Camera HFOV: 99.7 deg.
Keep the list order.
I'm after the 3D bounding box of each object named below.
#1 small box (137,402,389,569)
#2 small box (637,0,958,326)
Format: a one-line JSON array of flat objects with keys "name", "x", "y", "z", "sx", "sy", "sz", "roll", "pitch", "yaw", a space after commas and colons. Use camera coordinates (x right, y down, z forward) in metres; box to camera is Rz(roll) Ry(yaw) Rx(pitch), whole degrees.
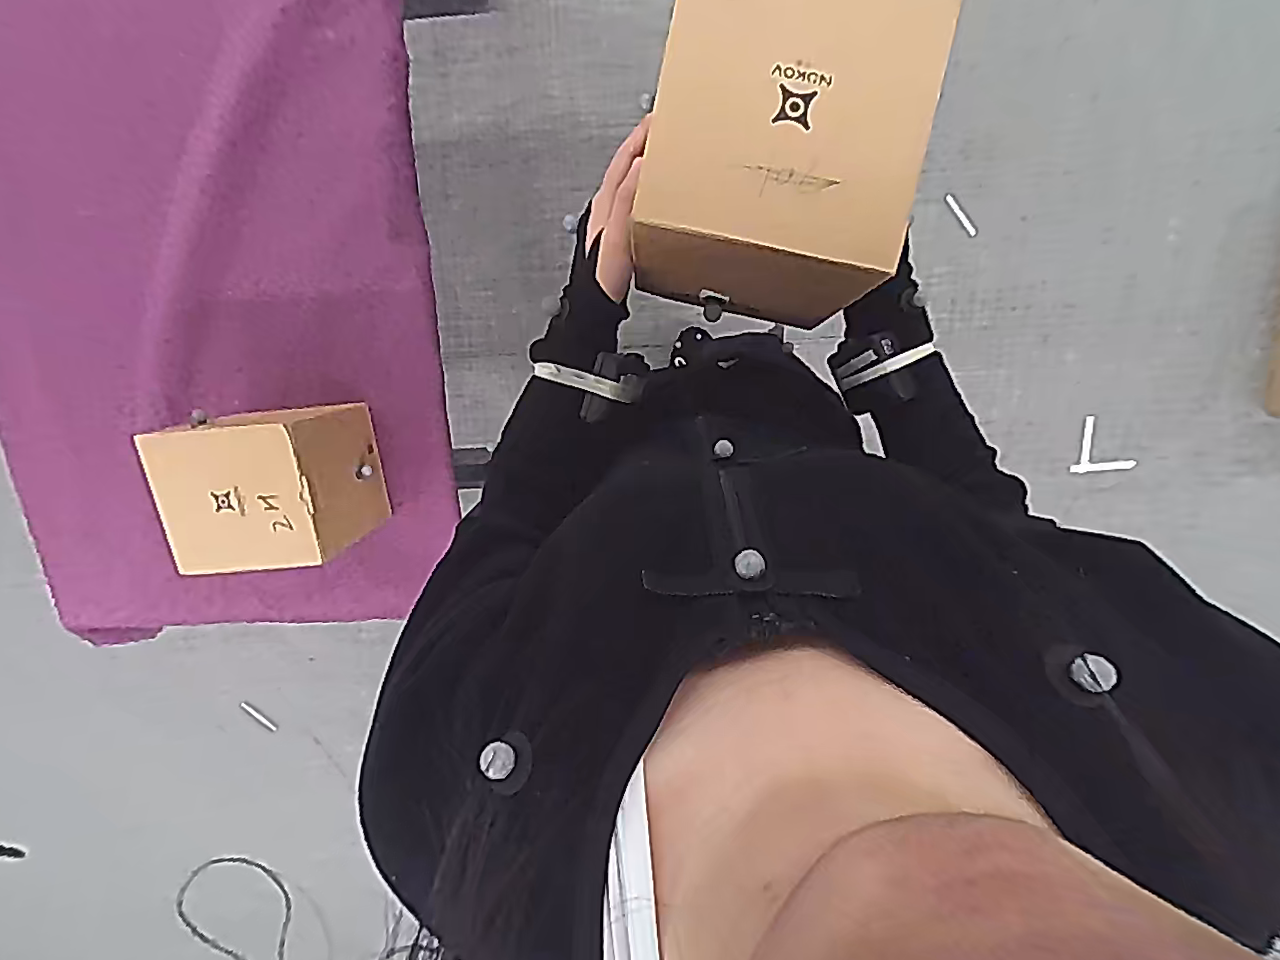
[{"name": "small box", "x": -0.450, "y": -0.001, "z": 0.677, "sx": 0.179, "sy": 0.176, "sz": 0.168, "roll": -5, "pitch": 106, "yaw": 2}, {"name": "small box", "x": 0.094, "y": -0.234, "z": 0.405, "sx": 0.168, "sy": 0.176, "sz": 0.179, "roll": 13, "pitch": 94, "yaw": 0}]
